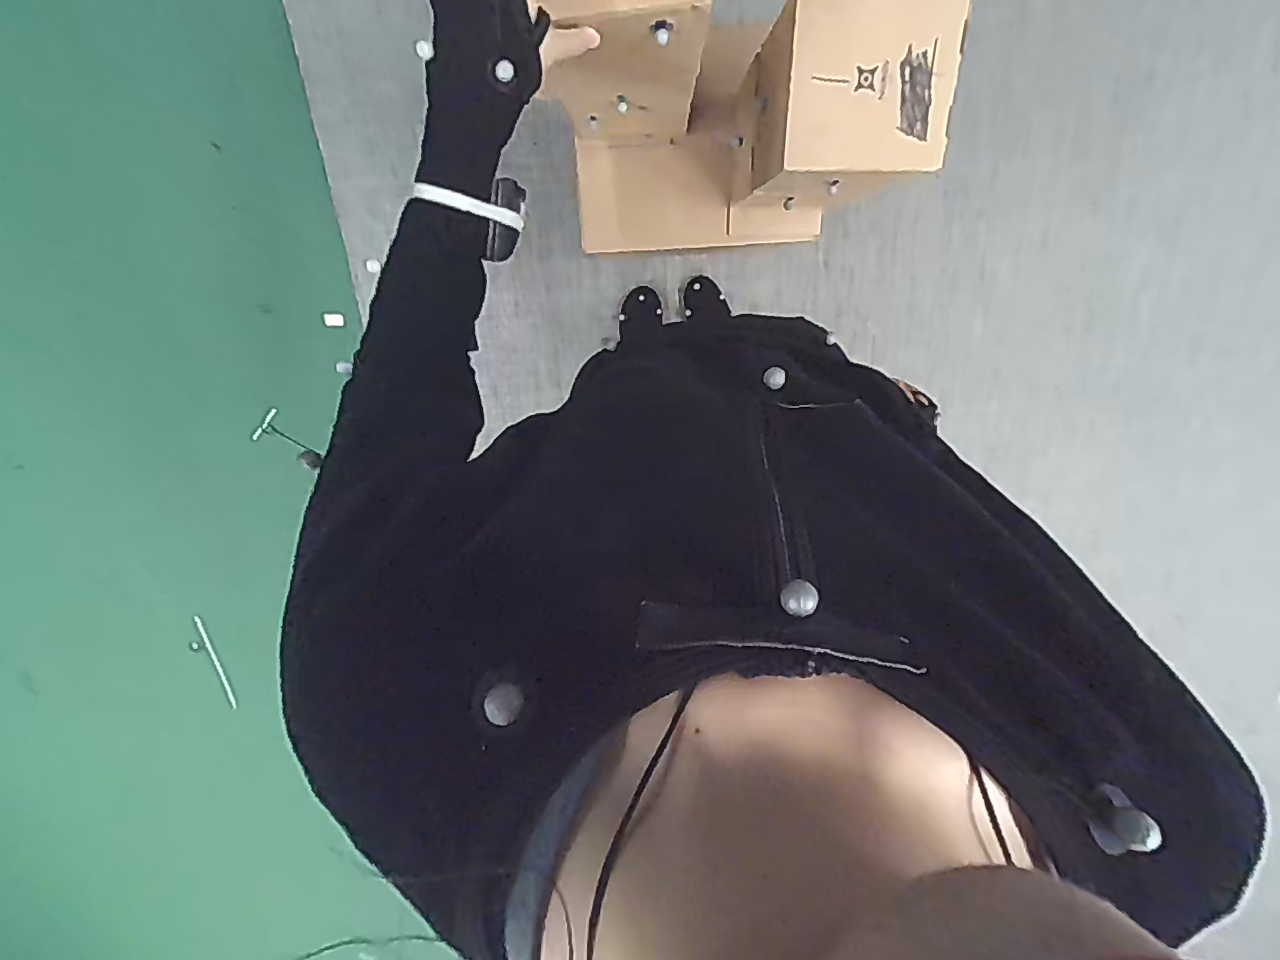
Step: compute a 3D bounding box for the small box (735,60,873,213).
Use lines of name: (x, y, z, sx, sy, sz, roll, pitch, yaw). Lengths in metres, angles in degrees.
small box: (0.237, -0.490, 0.792, 0.179, 0.176, 0.168, 0, 112, 2)

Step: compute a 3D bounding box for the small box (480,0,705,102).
small box: (-0.039, -0.453, 0.465, 0.179, 0.176, 0.168, -6, 110, 3)

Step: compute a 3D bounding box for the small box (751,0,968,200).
small box: (0.239, -0.434, 0.637, 0.179, 0.176, 0.168, 0, 110, 1)

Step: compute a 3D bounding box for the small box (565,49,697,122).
small box: (-0.017, -0.532, 0.611, 0.168, 0.176, 0.179, 3, 111, 1)
